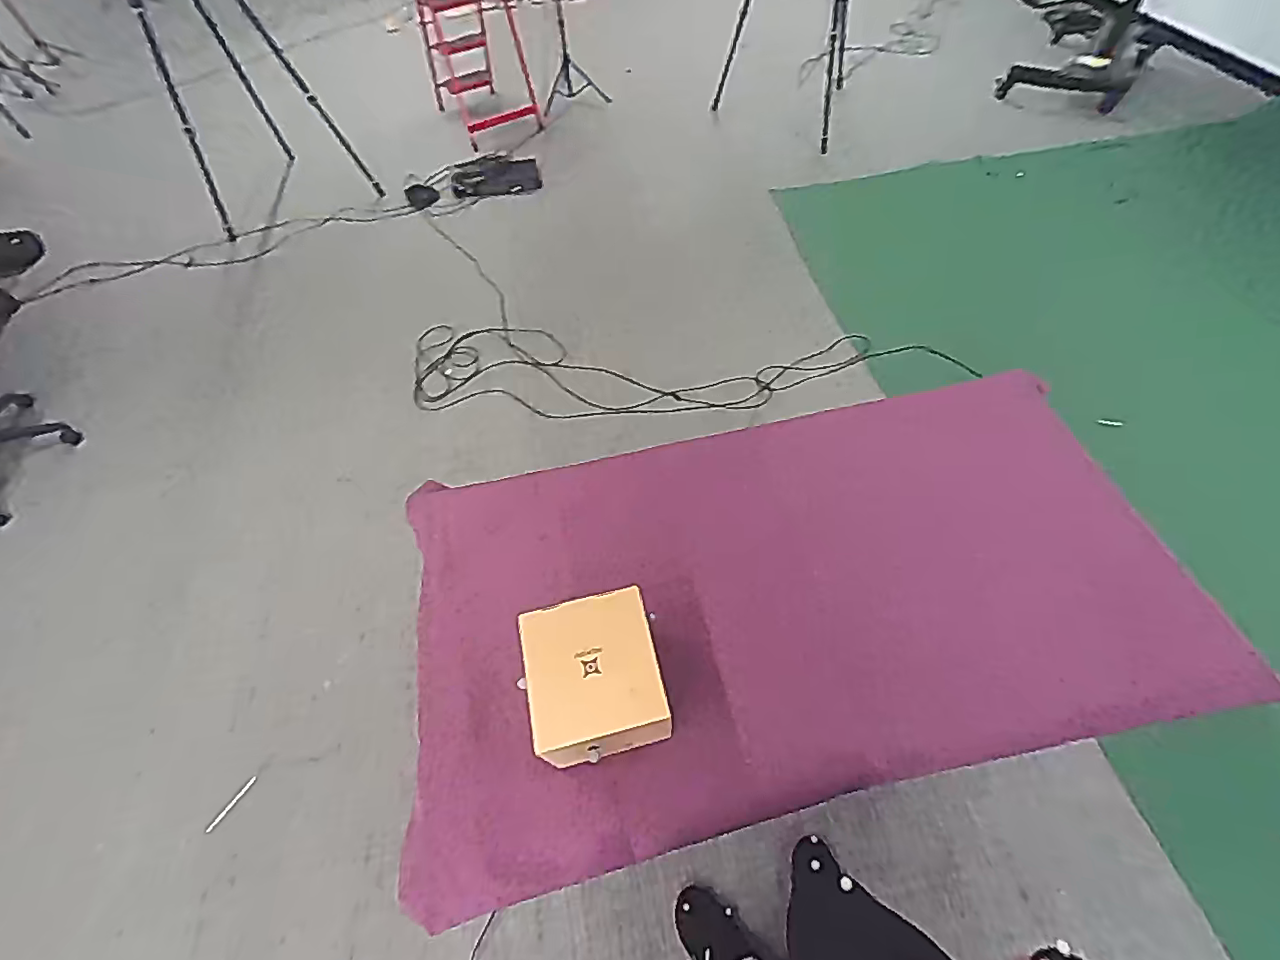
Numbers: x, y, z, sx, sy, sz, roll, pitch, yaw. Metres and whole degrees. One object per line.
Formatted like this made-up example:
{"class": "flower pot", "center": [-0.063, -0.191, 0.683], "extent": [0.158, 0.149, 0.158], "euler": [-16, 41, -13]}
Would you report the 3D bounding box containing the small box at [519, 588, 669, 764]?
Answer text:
{"class": "small box", "center": [-0.058, 0.277, 0.744], "extent": [0.168, 0.176, 0.179], "euler": [-13, 56, -5]}
